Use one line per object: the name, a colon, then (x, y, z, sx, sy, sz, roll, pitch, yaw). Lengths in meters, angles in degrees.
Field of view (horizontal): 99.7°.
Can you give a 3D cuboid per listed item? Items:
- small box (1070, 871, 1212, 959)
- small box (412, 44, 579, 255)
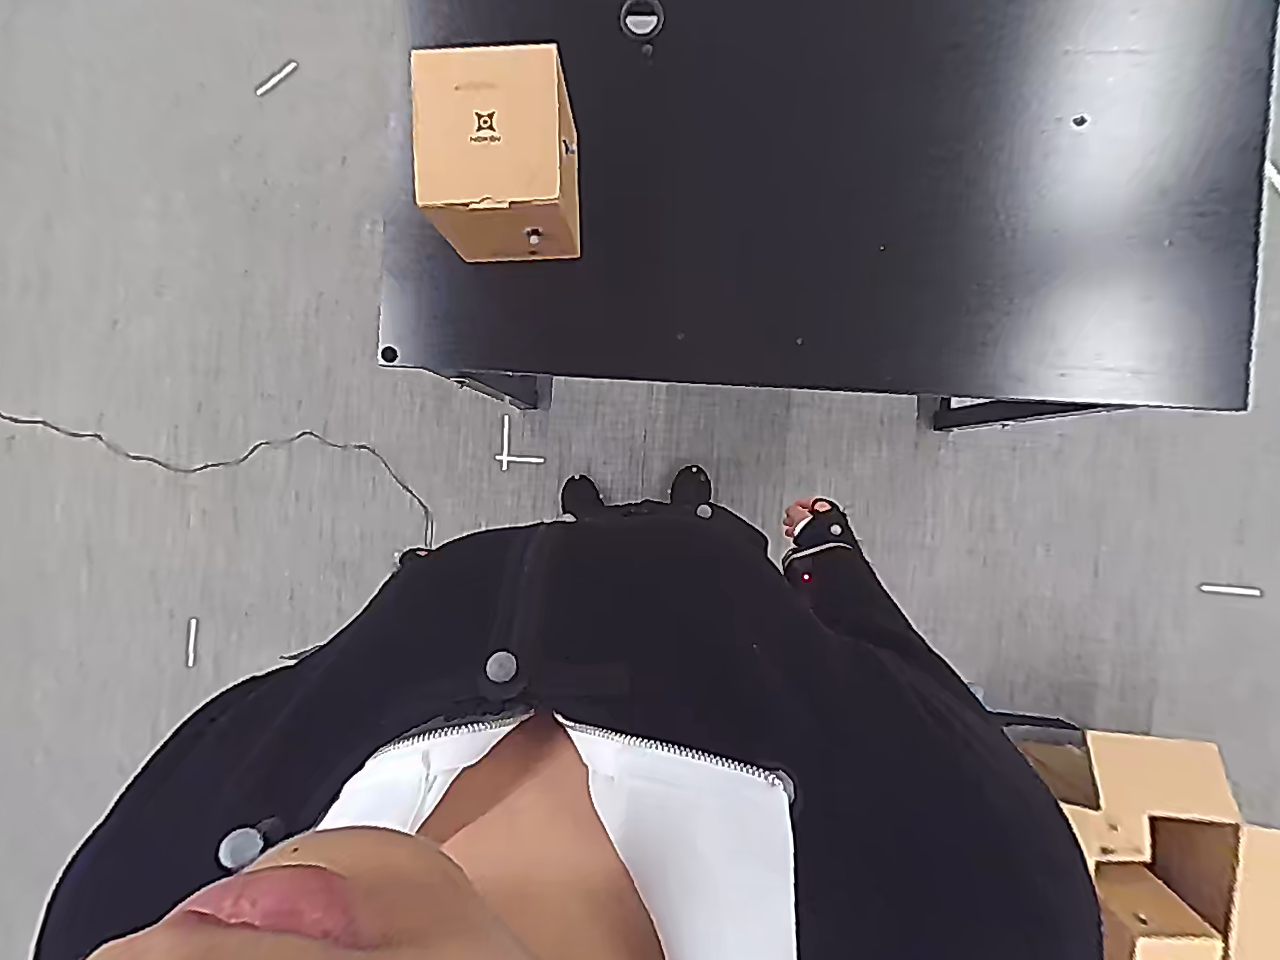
small box: (1.122, 1.026, 1.225, 0.179, 0.176, 0.168, -2, 95, 2)
small box: (-0.170, -0.398, 0.684, 0.168, 0.176, 0.179, -2, 90, 1)
